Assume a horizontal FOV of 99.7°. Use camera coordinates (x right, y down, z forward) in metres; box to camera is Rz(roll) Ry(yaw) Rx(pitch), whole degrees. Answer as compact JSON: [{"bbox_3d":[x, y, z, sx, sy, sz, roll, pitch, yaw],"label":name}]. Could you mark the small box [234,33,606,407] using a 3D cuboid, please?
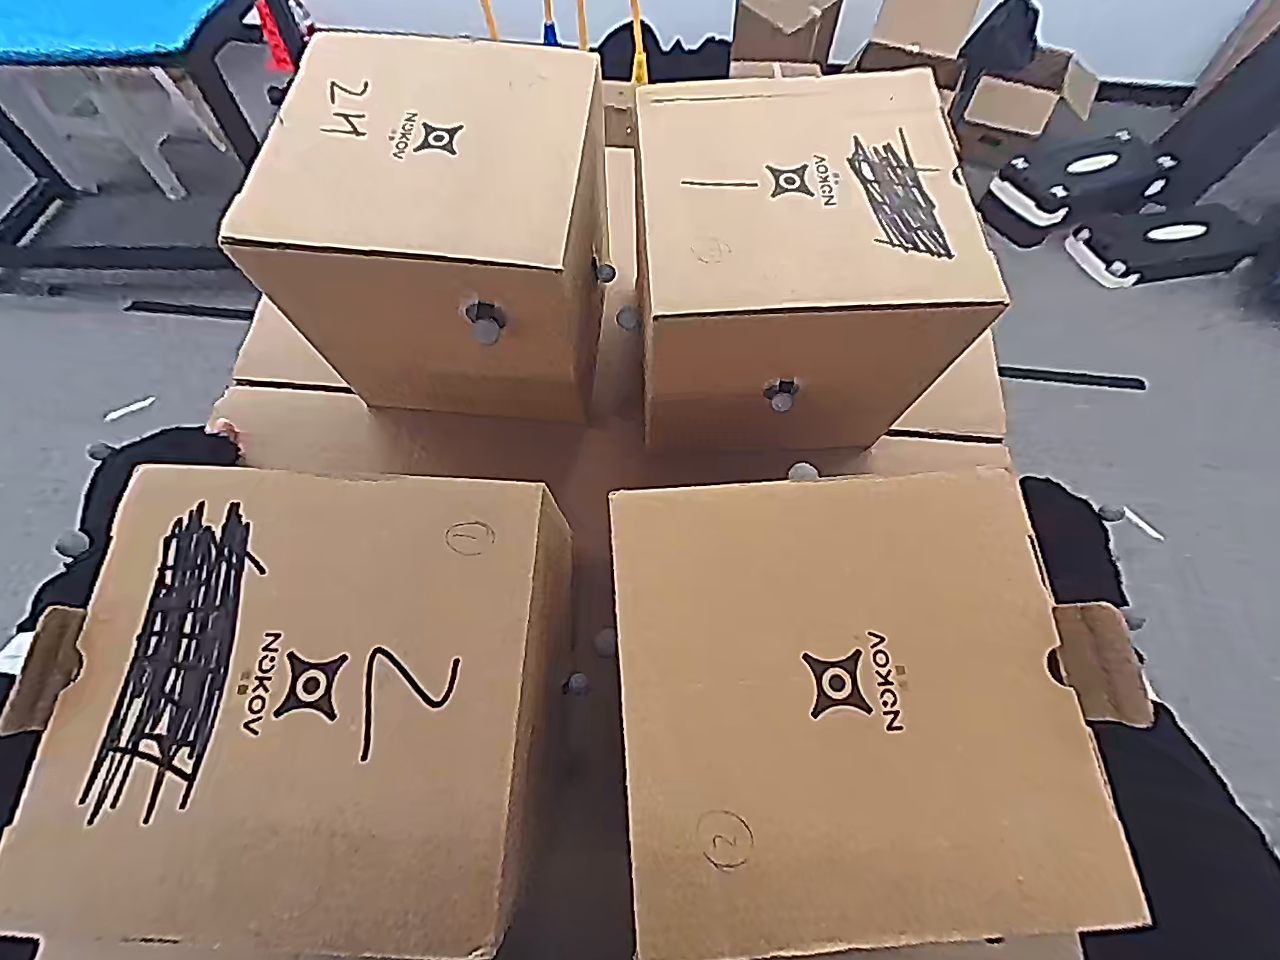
[{"bbox_3d":[-0.121,-0.166,0.384,0.179,0.176,0.168,6,69,2],"label":"small box"}]
